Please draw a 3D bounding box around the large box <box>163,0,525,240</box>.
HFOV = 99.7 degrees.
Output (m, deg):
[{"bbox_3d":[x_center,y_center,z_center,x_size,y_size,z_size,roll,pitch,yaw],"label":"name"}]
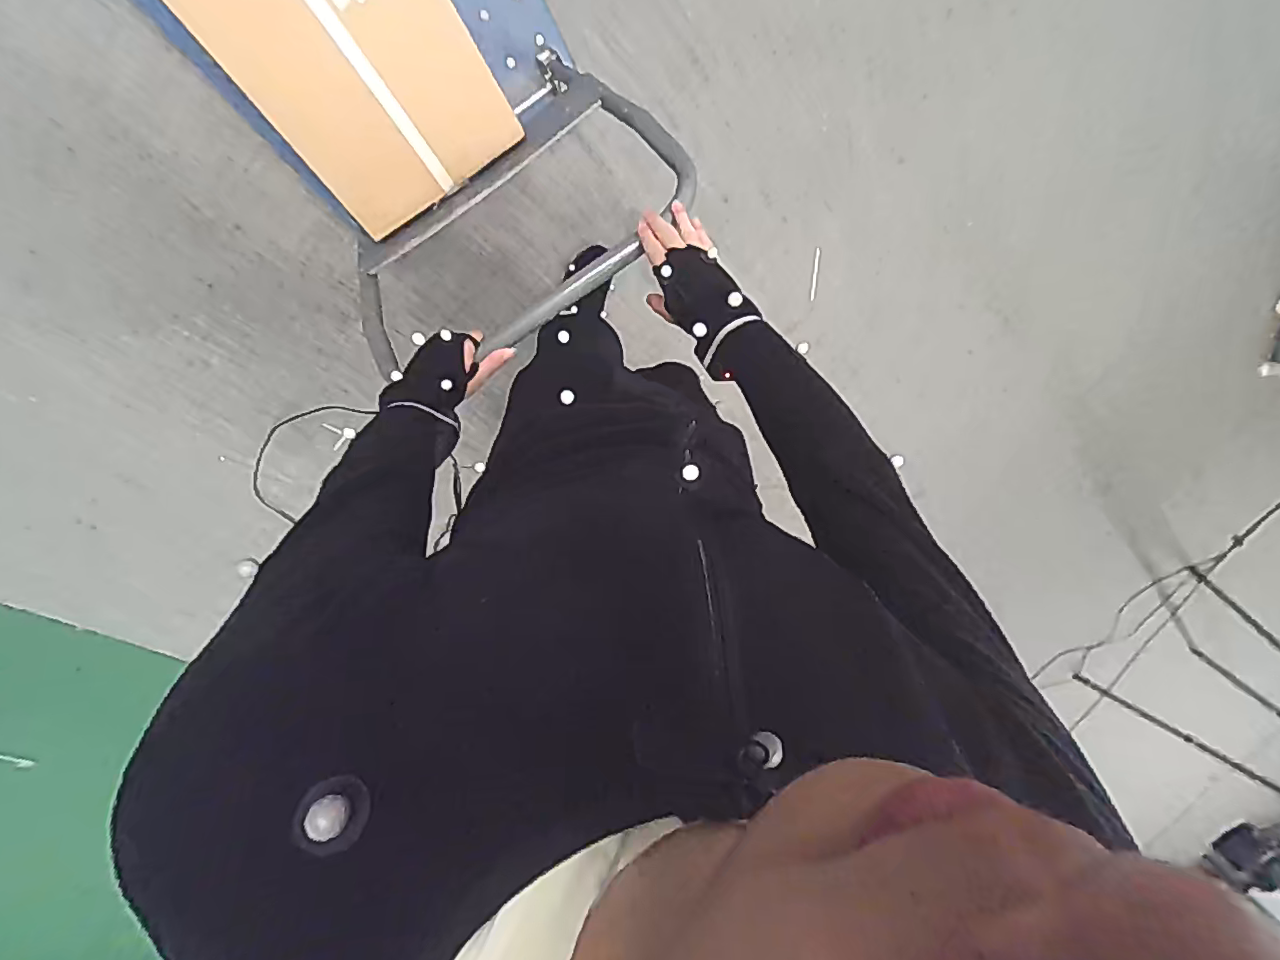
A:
[{"bbox_3d":[-0.447,-0.689,0.875,0.320,0.320,0.408,-33,134,5],"label":"large box"}]
